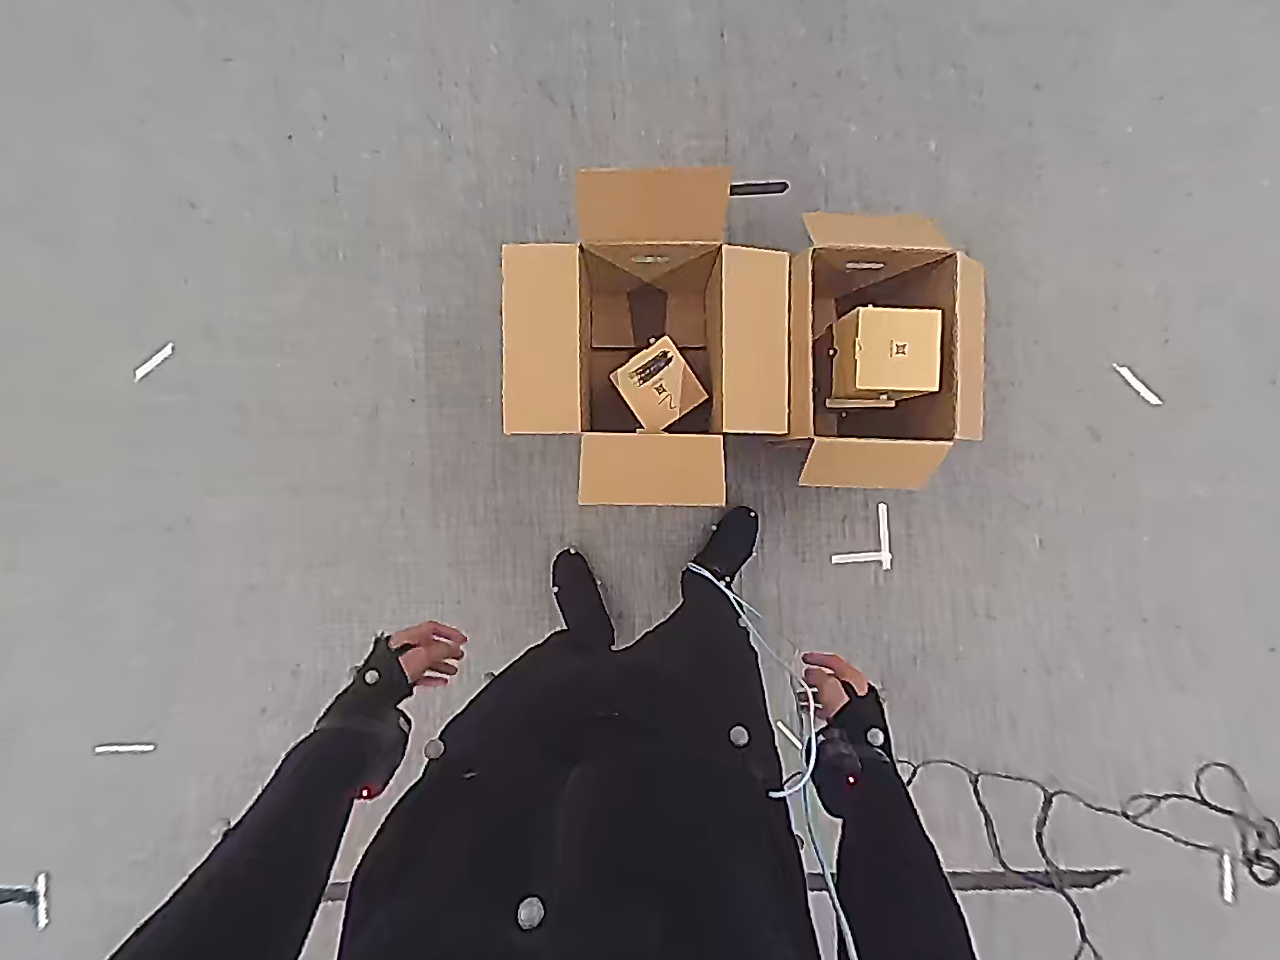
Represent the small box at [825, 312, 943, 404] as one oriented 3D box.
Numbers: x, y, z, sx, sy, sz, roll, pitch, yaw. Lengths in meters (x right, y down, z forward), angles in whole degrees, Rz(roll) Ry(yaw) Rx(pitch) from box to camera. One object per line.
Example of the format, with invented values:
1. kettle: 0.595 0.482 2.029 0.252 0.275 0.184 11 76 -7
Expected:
1. small box: 0.520 -0.256 1.167 0.179 0.176 0.168 1 92 -1
